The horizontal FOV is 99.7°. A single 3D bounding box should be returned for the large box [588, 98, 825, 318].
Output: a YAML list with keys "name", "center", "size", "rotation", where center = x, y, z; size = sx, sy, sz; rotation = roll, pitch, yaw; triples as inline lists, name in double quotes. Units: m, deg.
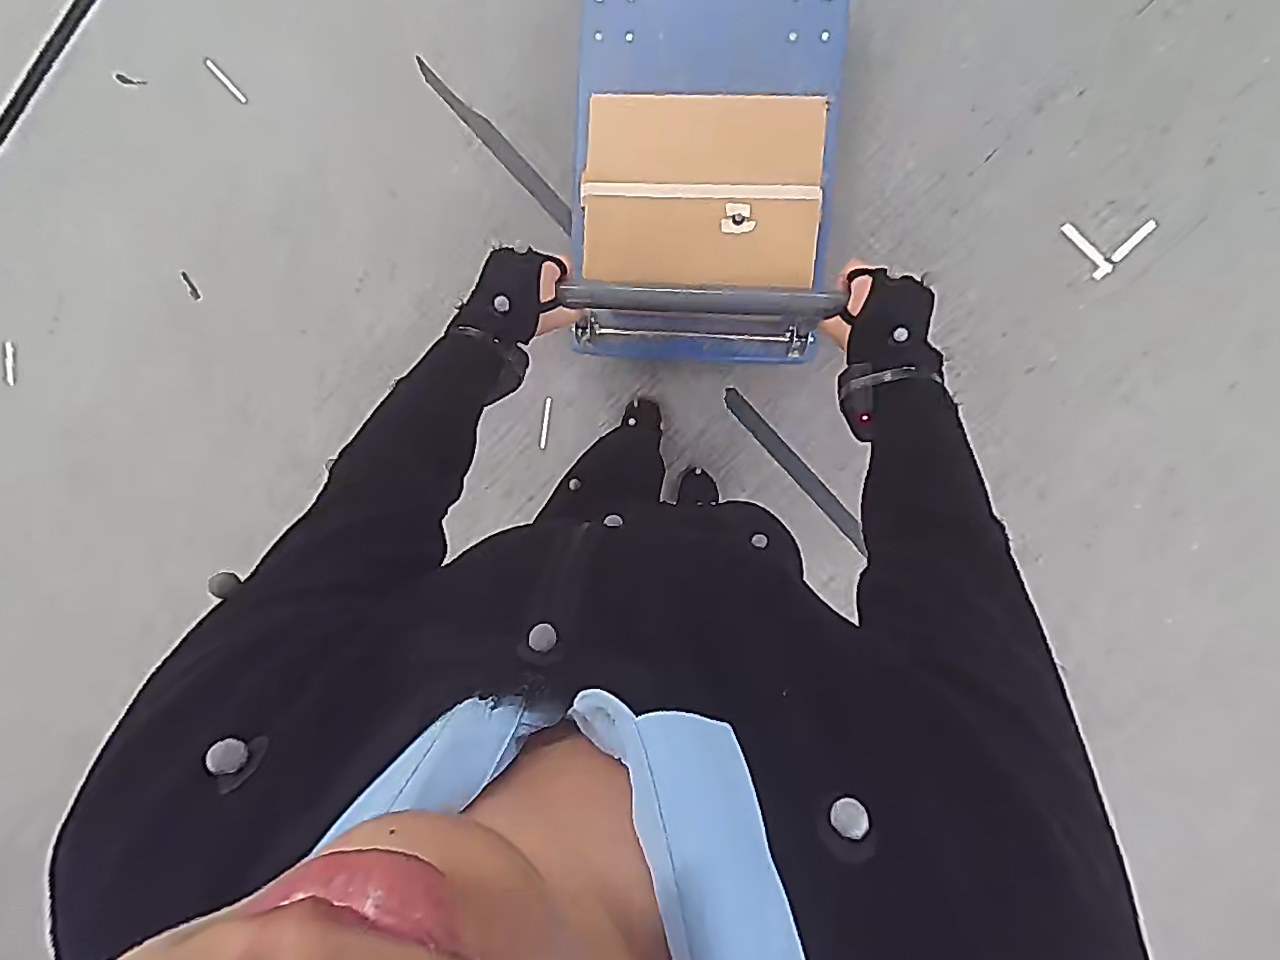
- name: "large box"
  center: [0.116, -0.513, 1.084]
  size: [0.408, 0.320, 0.320]
  rotation: [3, 97, 3]
